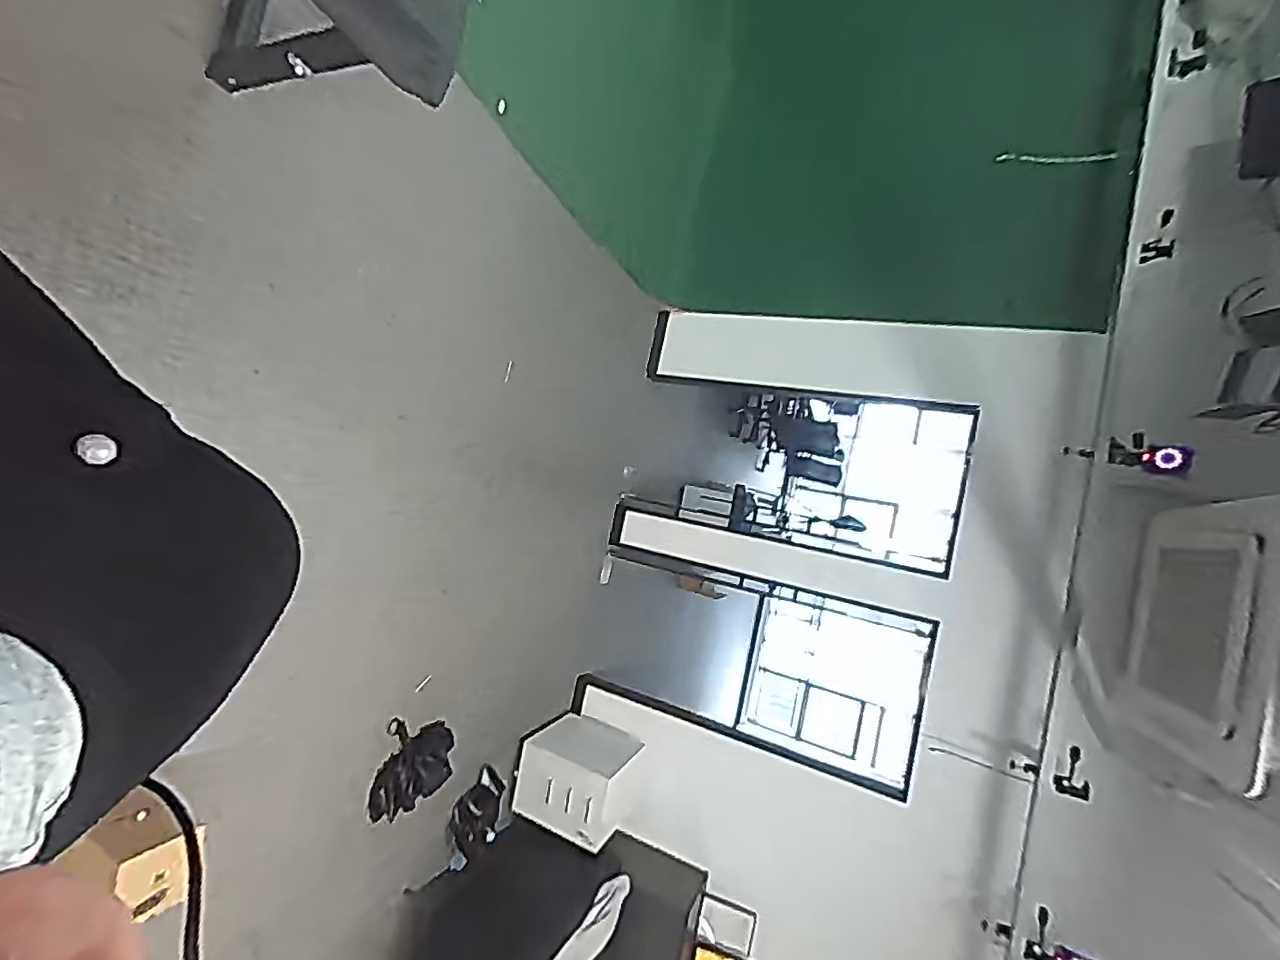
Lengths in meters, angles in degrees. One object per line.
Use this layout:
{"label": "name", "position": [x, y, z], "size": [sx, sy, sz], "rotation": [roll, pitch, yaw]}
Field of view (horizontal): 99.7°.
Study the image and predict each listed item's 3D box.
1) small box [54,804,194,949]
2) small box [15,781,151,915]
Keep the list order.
{"label": "small box", "position": [-1.162, 0.878, 1.218], "size": [0.168, 0.176, 0.179], "rotation": [10, 90, -69]}
{"label": "small box", "position": [-1.314, 0.856, 1.276], "size": [0.168, 0.176, 0.179], "rotation": [10, 89, -69]}
